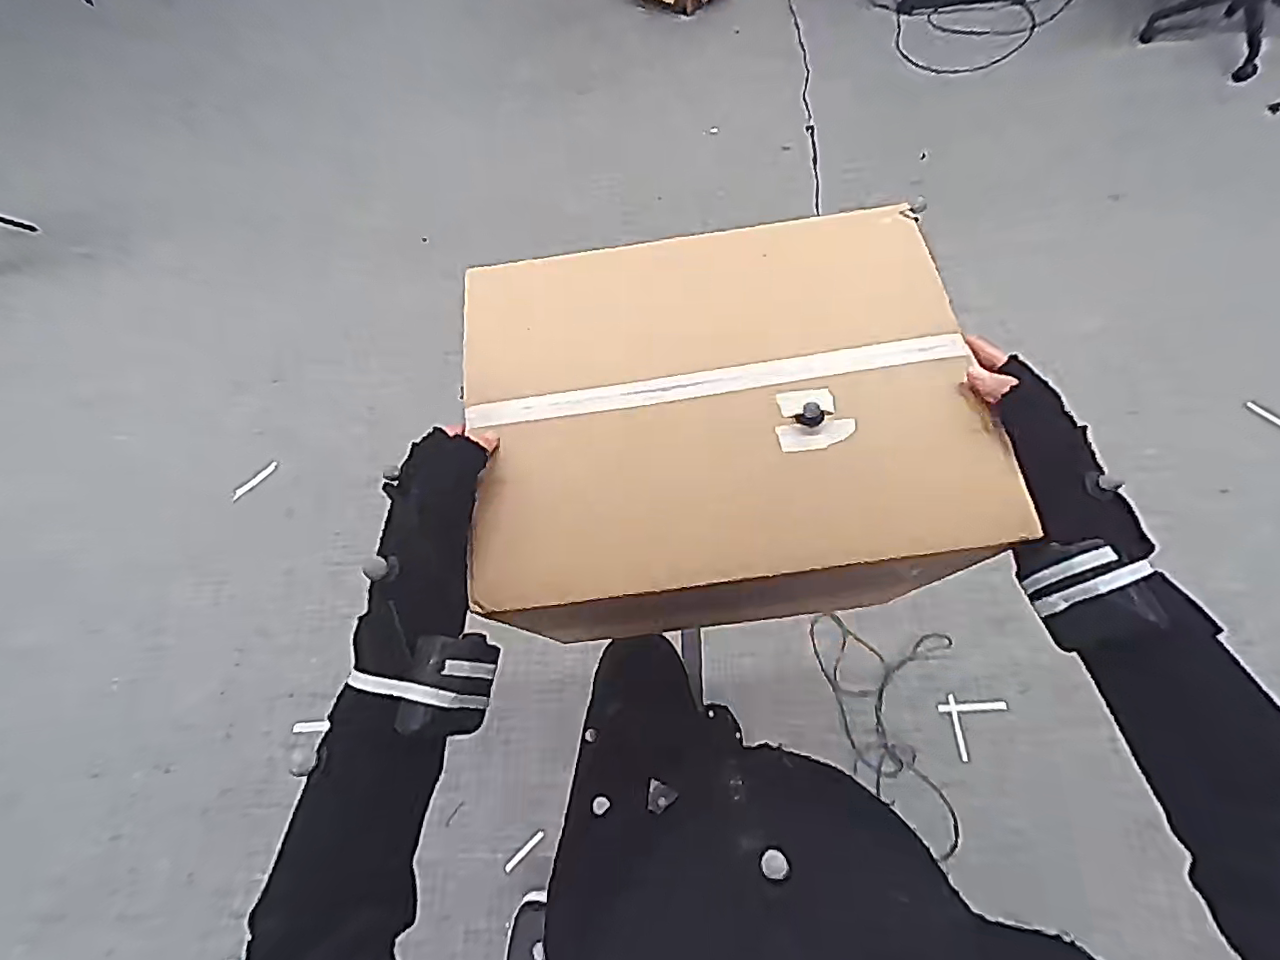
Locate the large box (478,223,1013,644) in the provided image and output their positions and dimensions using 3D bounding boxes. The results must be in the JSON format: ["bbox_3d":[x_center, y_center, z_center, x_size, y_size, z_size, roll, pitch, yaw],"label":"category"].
[{"bbox_3d":[0.070,-0.018,0.592,0.408,0.320,0.320,-8,68,1],"label":"large box"}]
